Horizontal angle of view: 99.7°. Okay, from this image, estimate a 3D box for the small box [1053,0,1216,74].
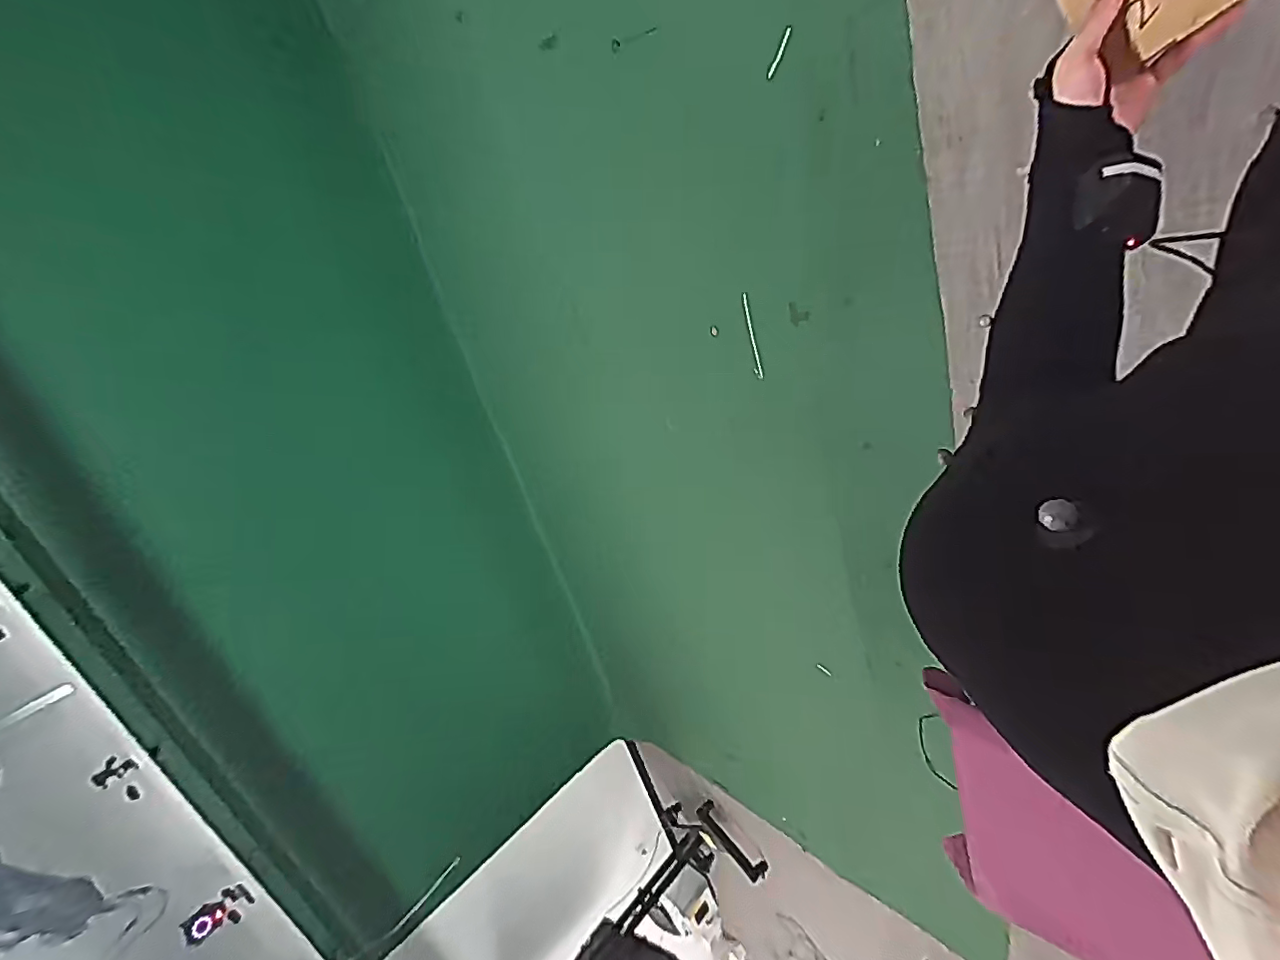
[{"bbox_3d":[0.432,-0.466,0.392,0.179,0.176,0.168,57,179,-6],"label":"small box"}]
